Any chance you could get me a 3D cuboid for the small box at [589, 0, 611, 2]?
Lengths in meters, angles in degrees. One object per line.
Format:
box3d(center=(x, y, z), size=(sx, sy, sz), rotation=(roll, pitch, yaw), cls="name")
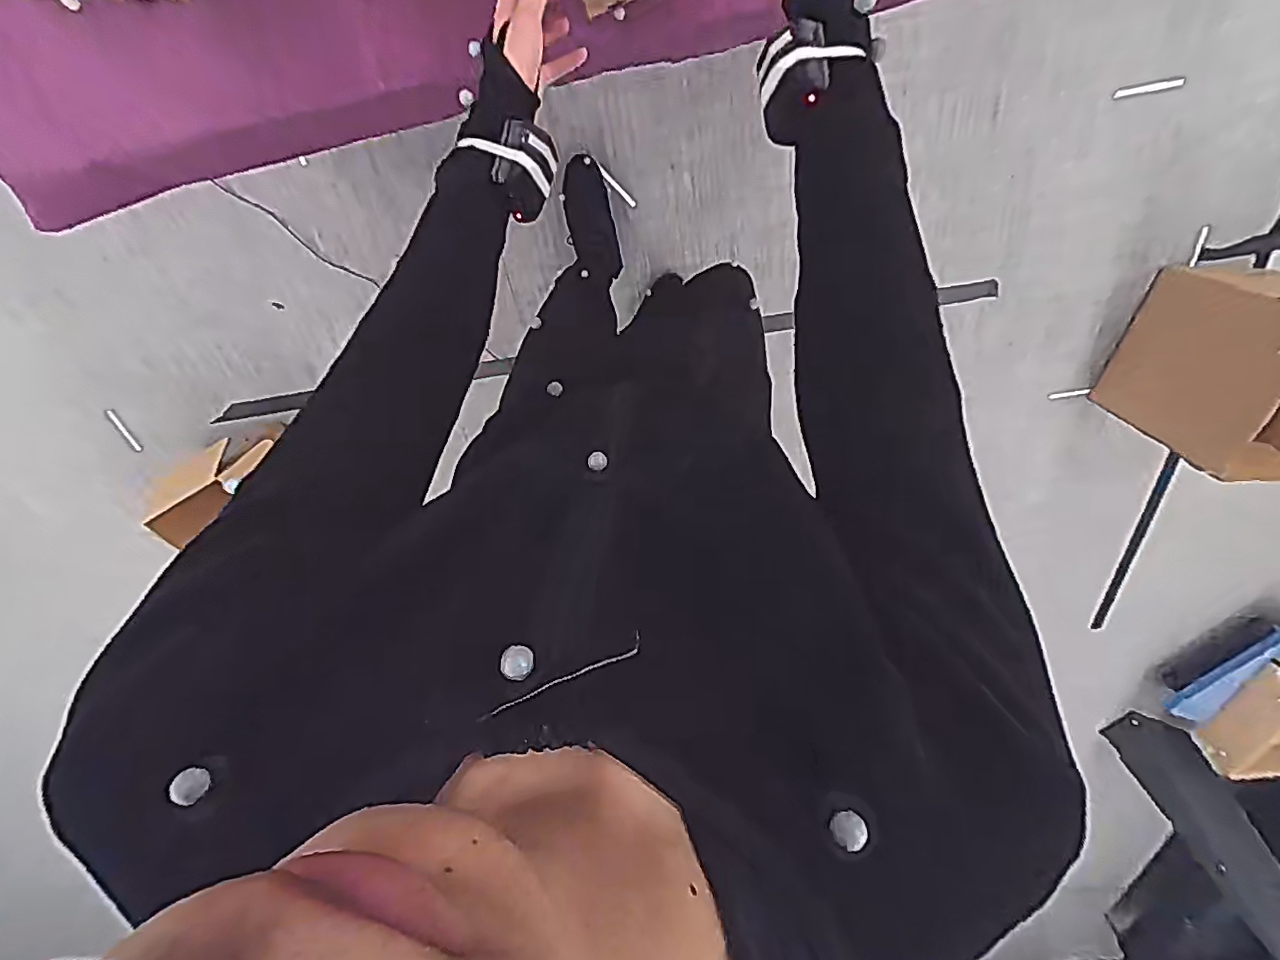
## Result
box3d(center=(-0.007, -0.552, 0.464), size=(0.168, 0.176, 0.179), rotation=(-18, 122, 9), cls="small box")
